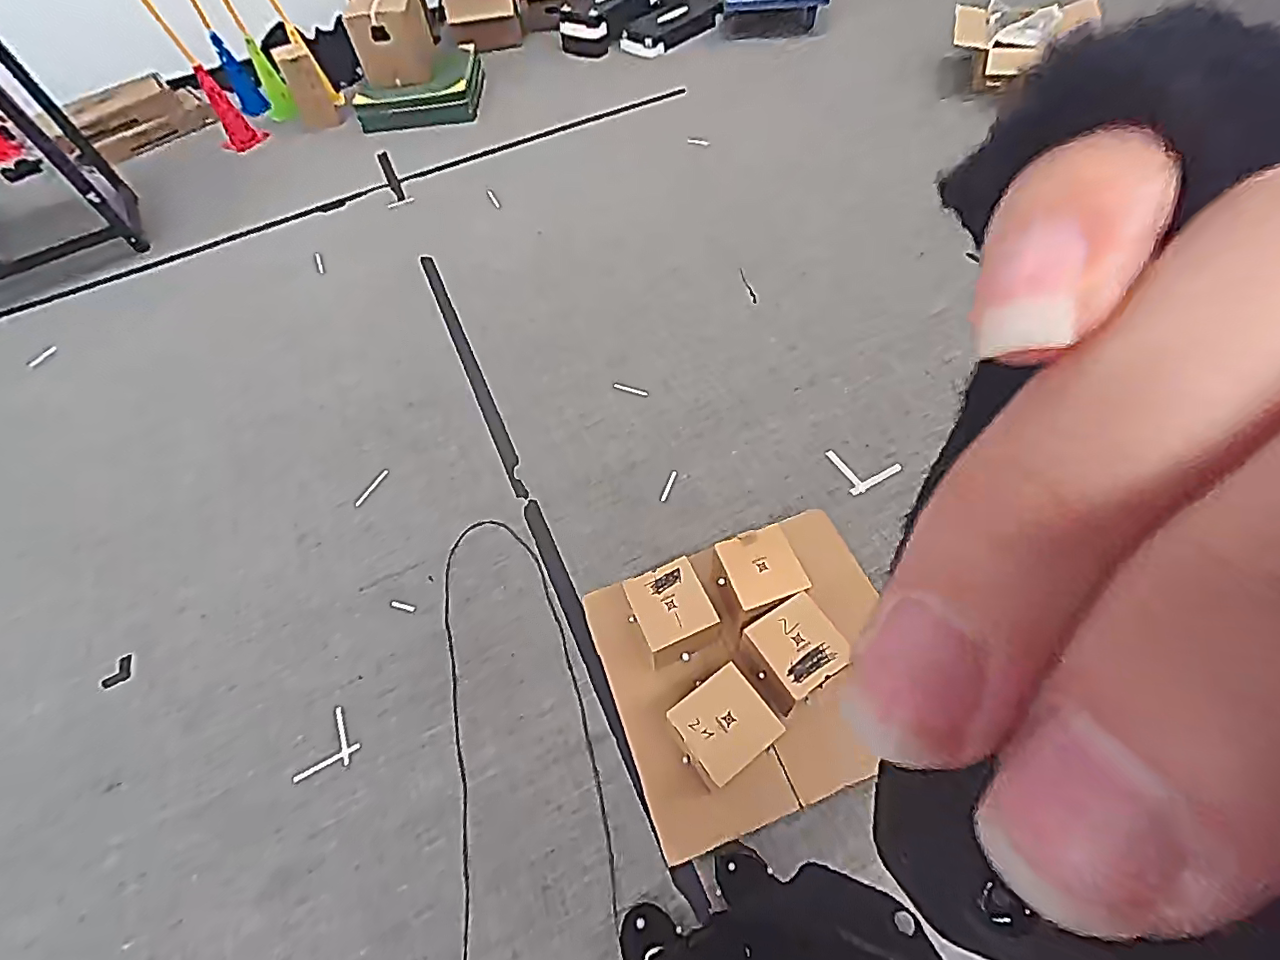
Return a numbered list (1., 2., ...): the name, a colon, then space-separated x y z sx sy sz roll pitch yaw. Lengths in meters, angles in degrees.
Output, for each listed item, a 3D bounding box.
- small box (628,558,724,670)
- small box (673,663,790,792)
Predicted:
1. small box: 0.081 0.319 1.275 0.168 0.176 0.179 -22 58 -9
2. small box: 0.183 0.520 1.132 0.179 0.176 0.168 -33 59 -15
